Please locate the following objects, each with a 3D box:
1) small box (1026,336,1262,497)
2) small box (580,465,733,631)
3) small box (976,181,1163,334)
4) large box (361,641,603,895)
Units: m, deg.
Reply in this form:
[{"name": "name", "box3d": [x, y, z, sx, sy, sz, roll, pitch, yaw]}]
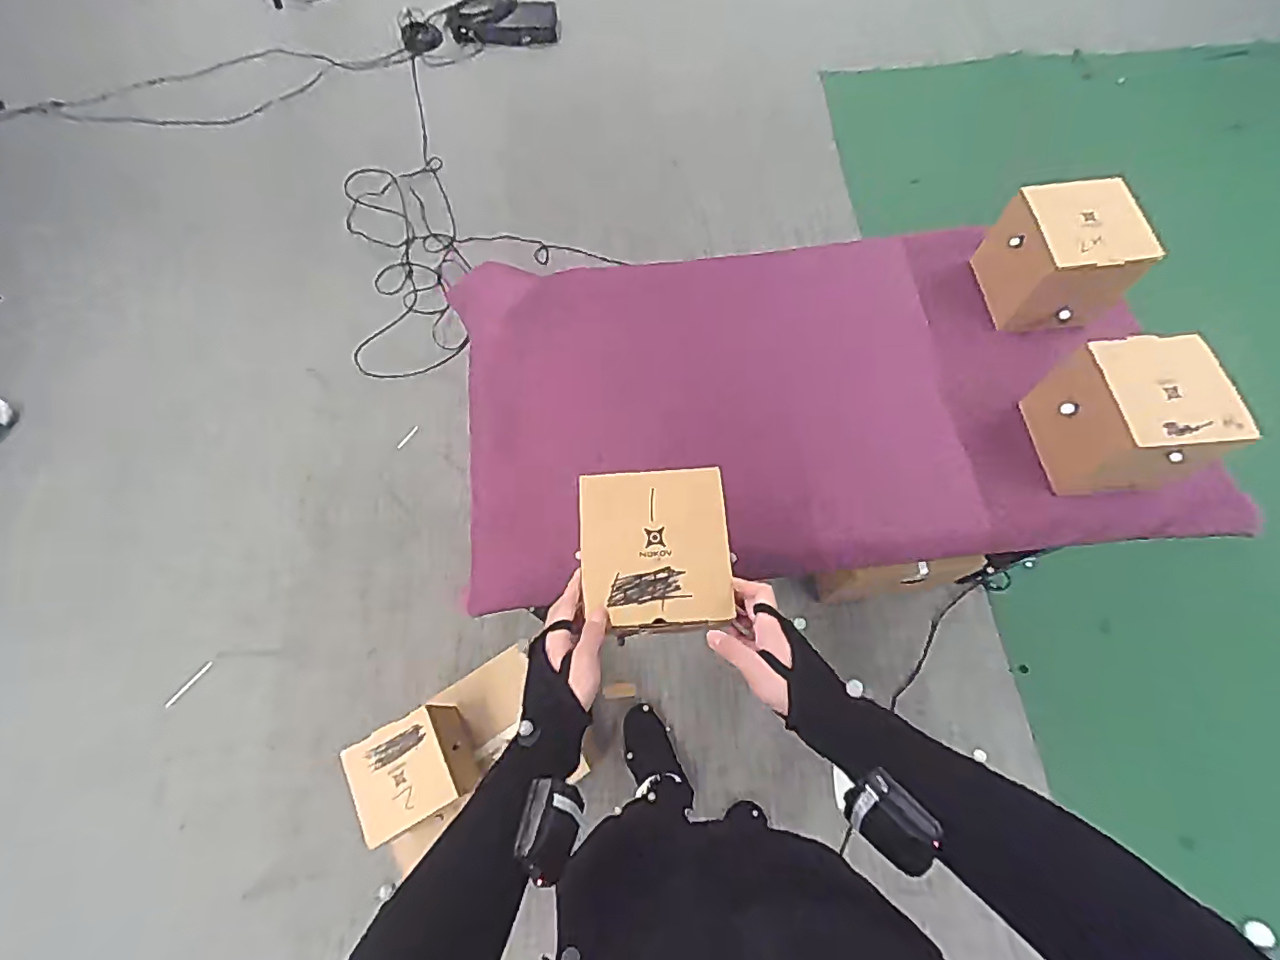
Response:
[{"name": "small box", "box3d": [0.734, -0.090, 0.817, 0.168, 0.176, 0.179, -5, 64, 2]}, {"name": "small box", "box3d": [0.019, 0.094, 0.675, 0.168, 0.176, 0.179, -4, 70, 0]}, {"name": "small box", "box3d": [0.724, -0.380, 0.940, 0.168, 0.176, 0.179, -5, 68, 2]}, {"name": "large box", "box3d": [-0.341, 0.640, 1.259, 0.408, 0.320, 0.320, -31, 70, -12]}]
